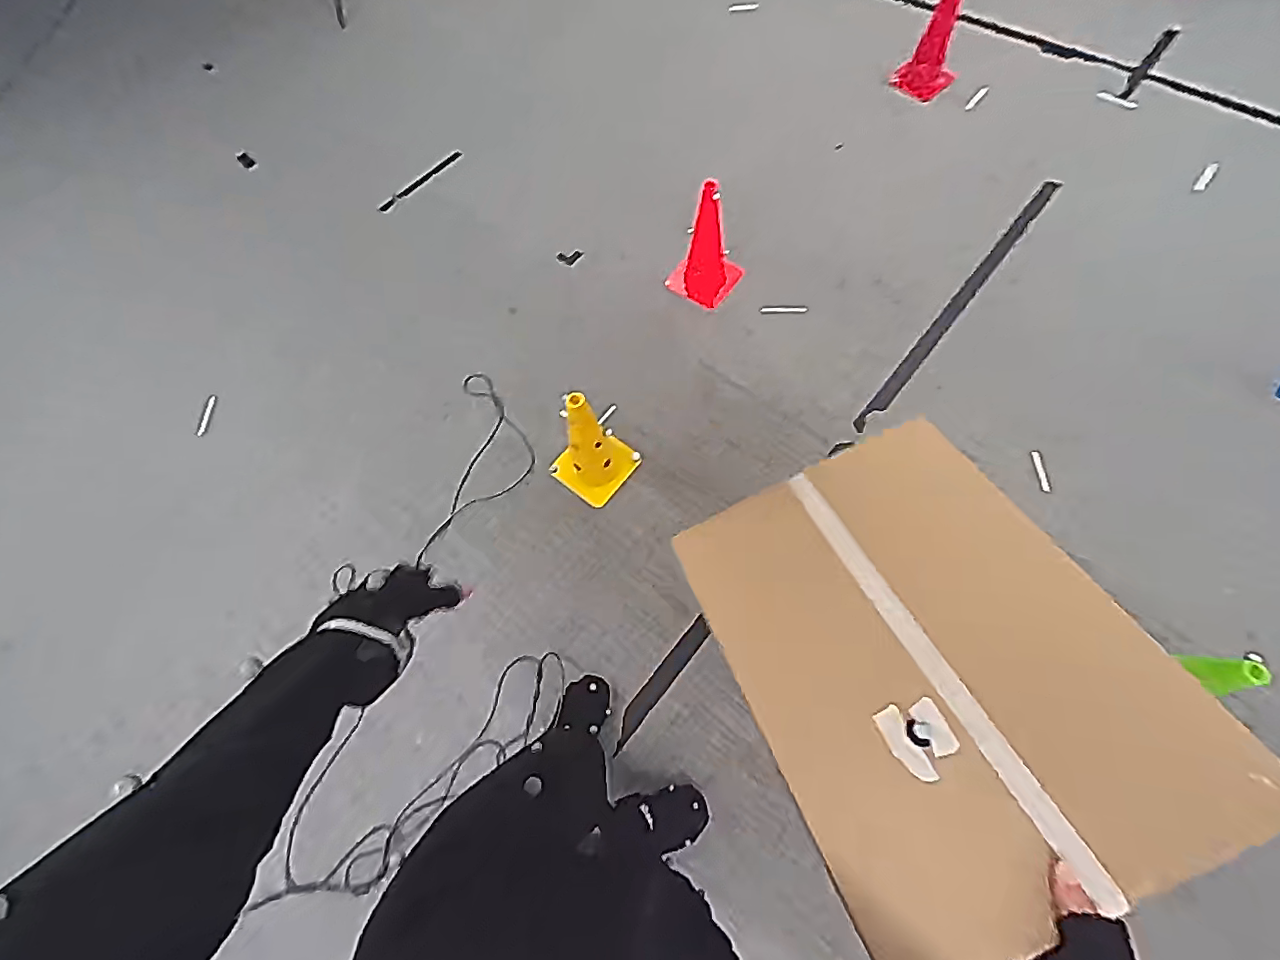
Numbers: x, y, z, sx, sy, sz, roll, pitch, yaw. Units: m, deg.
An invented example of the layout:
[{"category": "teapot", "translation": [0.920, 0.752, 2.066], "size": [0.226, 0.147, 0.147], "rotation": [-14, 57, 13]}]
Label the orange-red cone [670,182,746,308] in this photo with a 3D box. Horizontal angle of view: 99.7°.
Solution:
[{"category": "orange-red cone", "translation": [0.211, -0.732, 1.634], "size": [0.198, 0.360, 0.199], "rotation": [34, 75, 17]}]

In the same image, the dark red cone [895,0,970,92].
[{"category": "dark red cone", "translation": [1.103, -1.633, 1.925], "size": [0.202, 0.394, 0.201], "rotation": [-42, 72, -13]}]

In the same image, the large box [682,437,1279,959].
[{"category": "large box", "translation": [0.286, 0.234, 0.604], "size": [0.320, 0.320, 0.408], "rotation": [-25, 52, 1]}]
